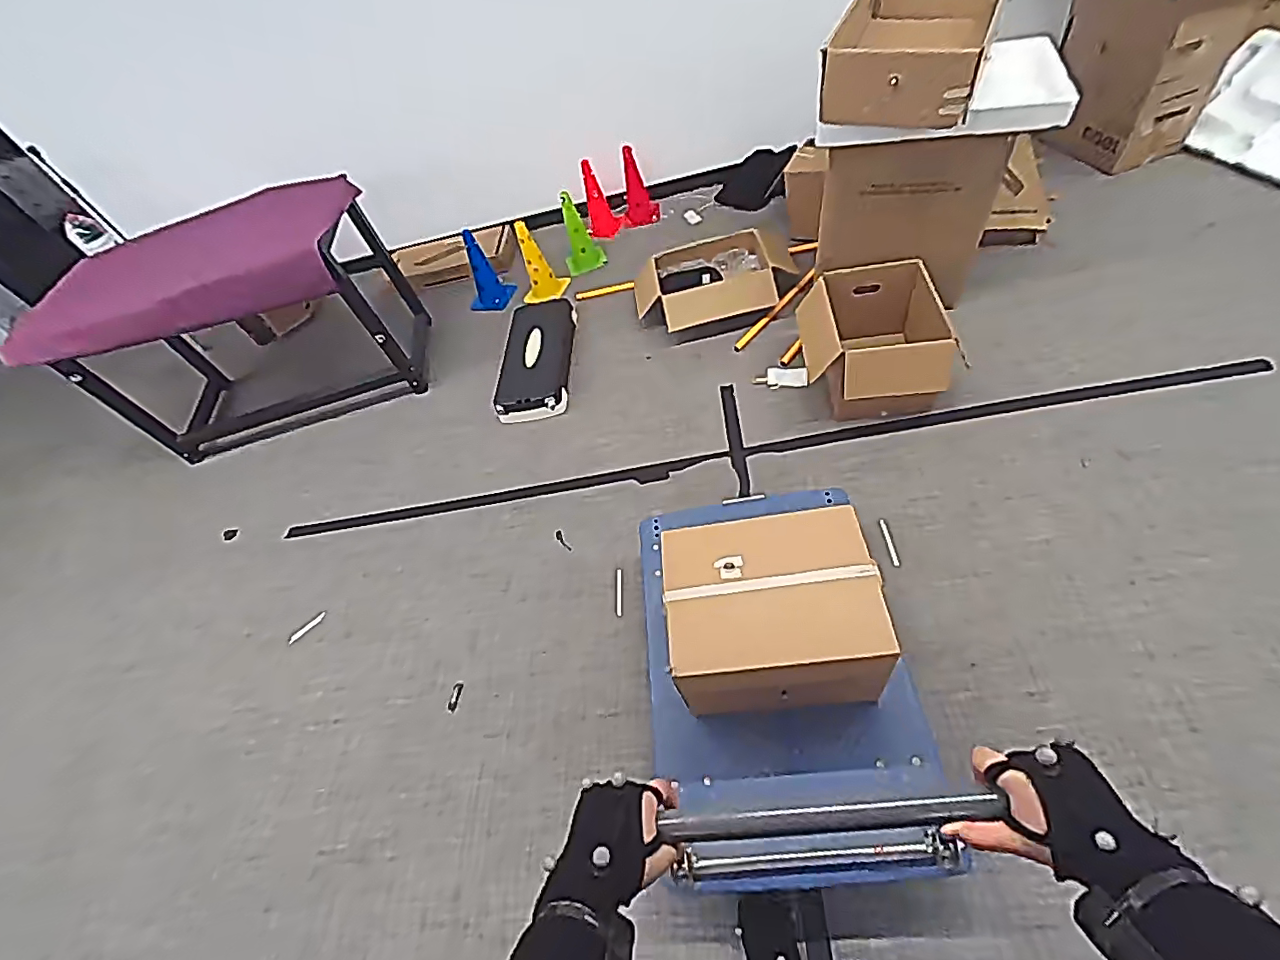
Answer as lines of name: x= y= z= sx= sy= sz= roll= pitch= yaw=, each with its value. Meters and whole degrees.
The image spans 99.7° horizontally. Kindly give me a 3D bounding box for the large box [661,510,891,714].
large box: x=0.281 y=0.303 z=1.189 sx=0.408 sy=0.320 sz=0.320 roll=-10 pitch=52 yaw=9
